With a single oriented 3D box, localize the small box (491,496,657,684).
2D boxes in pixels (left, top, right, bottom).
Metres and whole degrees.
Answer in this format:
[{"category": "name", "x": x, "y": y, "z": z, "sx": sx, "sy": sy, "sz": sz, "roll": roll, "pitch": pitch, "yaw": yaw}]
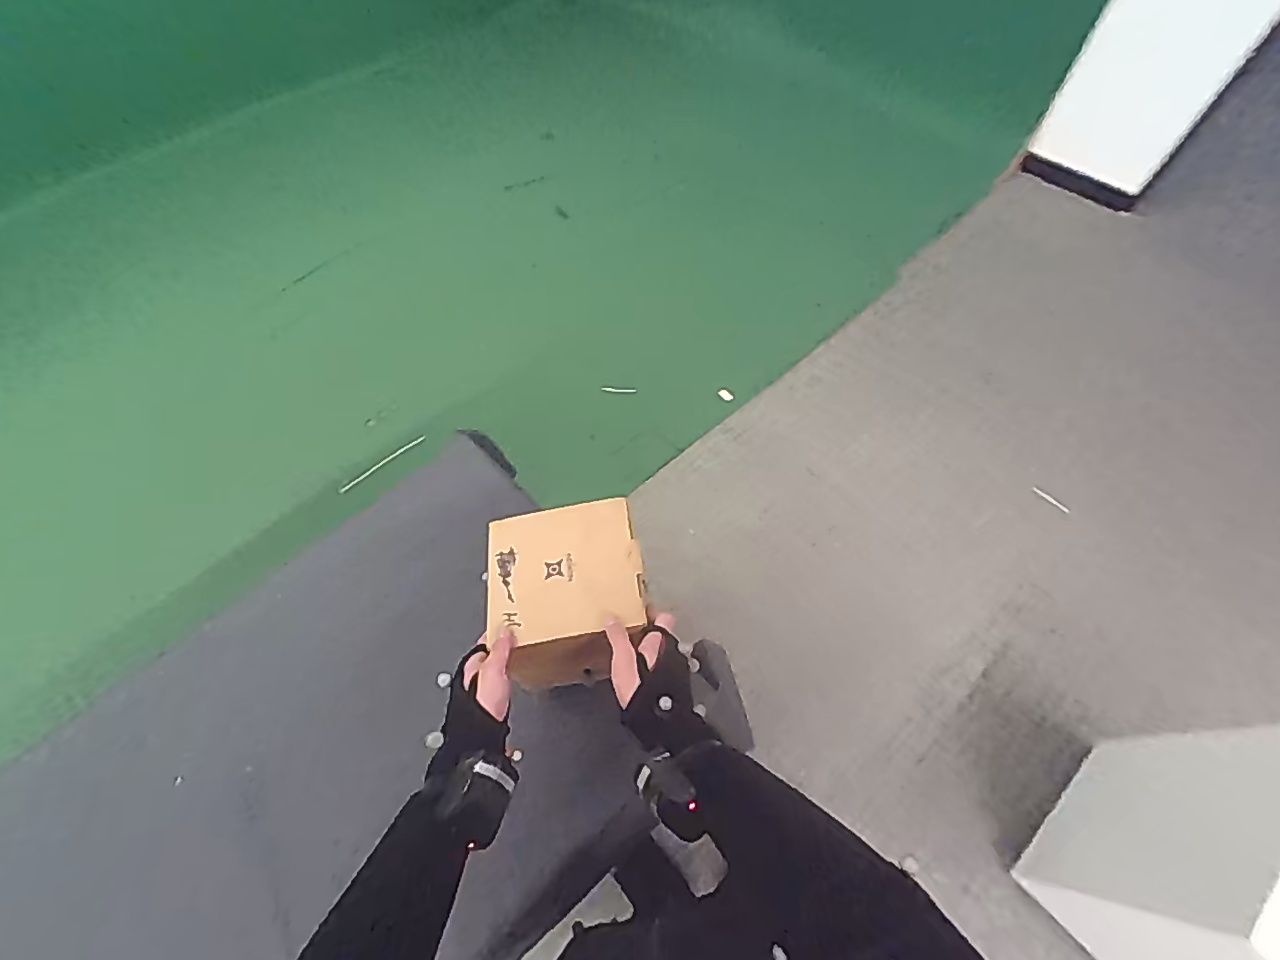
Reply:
[{"category": "small box", "x": -0.073, "y": 0.141, "z": 0.672, "sx": 0.179, "sy": 0.176, "sz": 0.168, "roll": -8, "pitch": 54, "yaw": -1}]
